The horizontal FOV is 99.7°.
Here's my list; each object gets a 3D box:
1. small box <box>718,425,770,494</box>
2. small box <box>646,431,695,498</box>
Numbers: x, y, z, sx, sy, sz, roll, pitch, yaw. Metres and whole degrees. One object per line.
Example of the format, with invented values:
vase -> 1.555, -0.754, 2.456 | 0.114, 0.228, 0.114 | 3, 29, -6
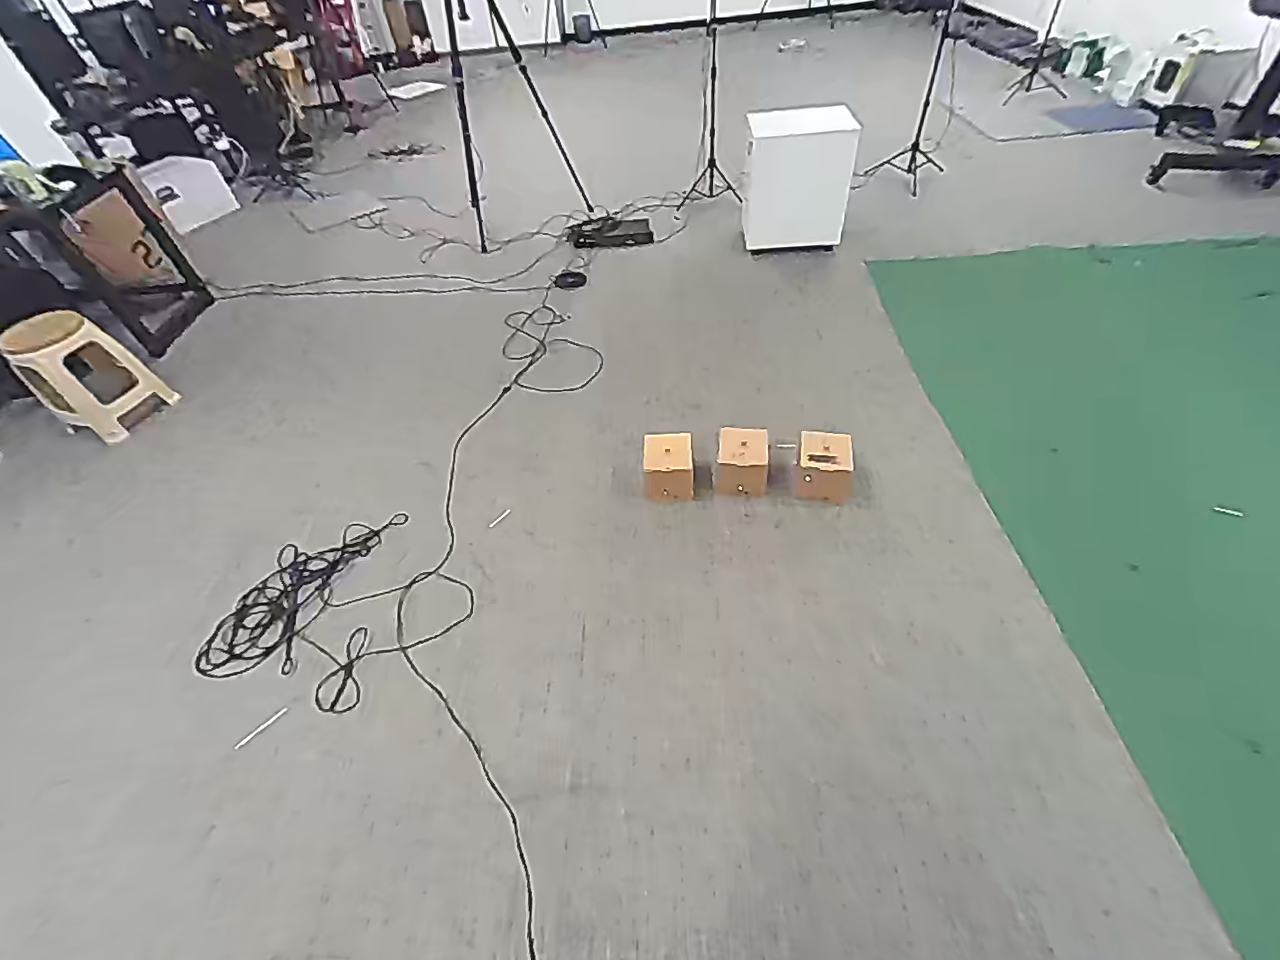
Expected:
small box -> 0.365, -0.072, 1.900 | 0.168, 0.176, 0.179 | 3, 50, 10
small box -> 0.109, -0.055, 1.915 | 0.168, 0.176, 0.179 | -2, 49, 5
